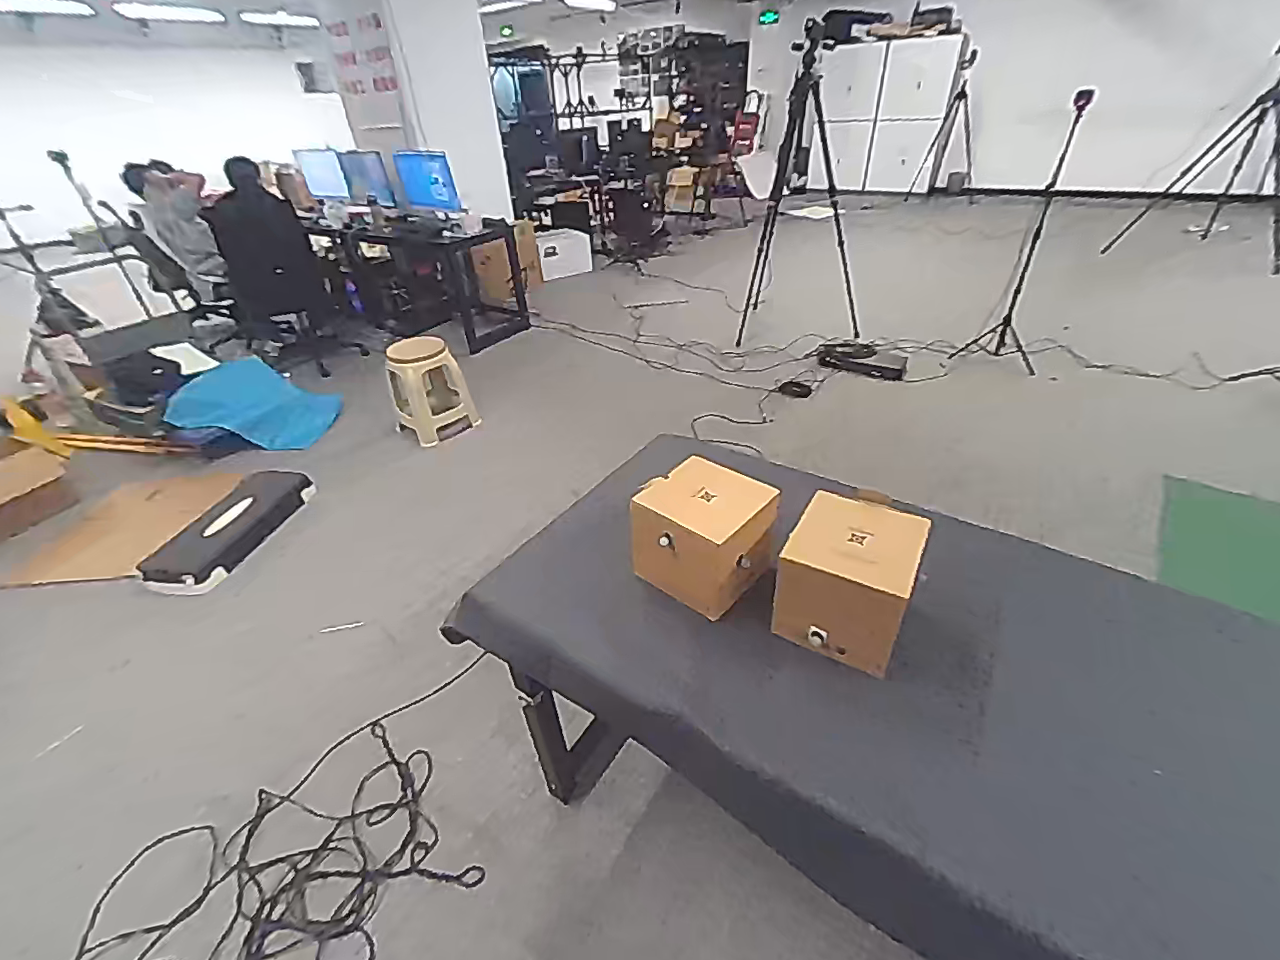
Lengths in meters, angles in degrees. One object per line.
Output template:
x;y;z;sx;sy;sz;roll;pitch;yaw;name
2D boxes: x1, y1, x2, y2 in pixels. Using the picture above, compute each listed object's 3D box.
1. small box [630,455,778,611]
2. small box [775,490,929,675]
0.105;0.089;0.896;0.179;0.176;0.168;26;44;35;small box
0.308;0.146;0.801;0.168;0.176;0.179;16;40;27;small box
